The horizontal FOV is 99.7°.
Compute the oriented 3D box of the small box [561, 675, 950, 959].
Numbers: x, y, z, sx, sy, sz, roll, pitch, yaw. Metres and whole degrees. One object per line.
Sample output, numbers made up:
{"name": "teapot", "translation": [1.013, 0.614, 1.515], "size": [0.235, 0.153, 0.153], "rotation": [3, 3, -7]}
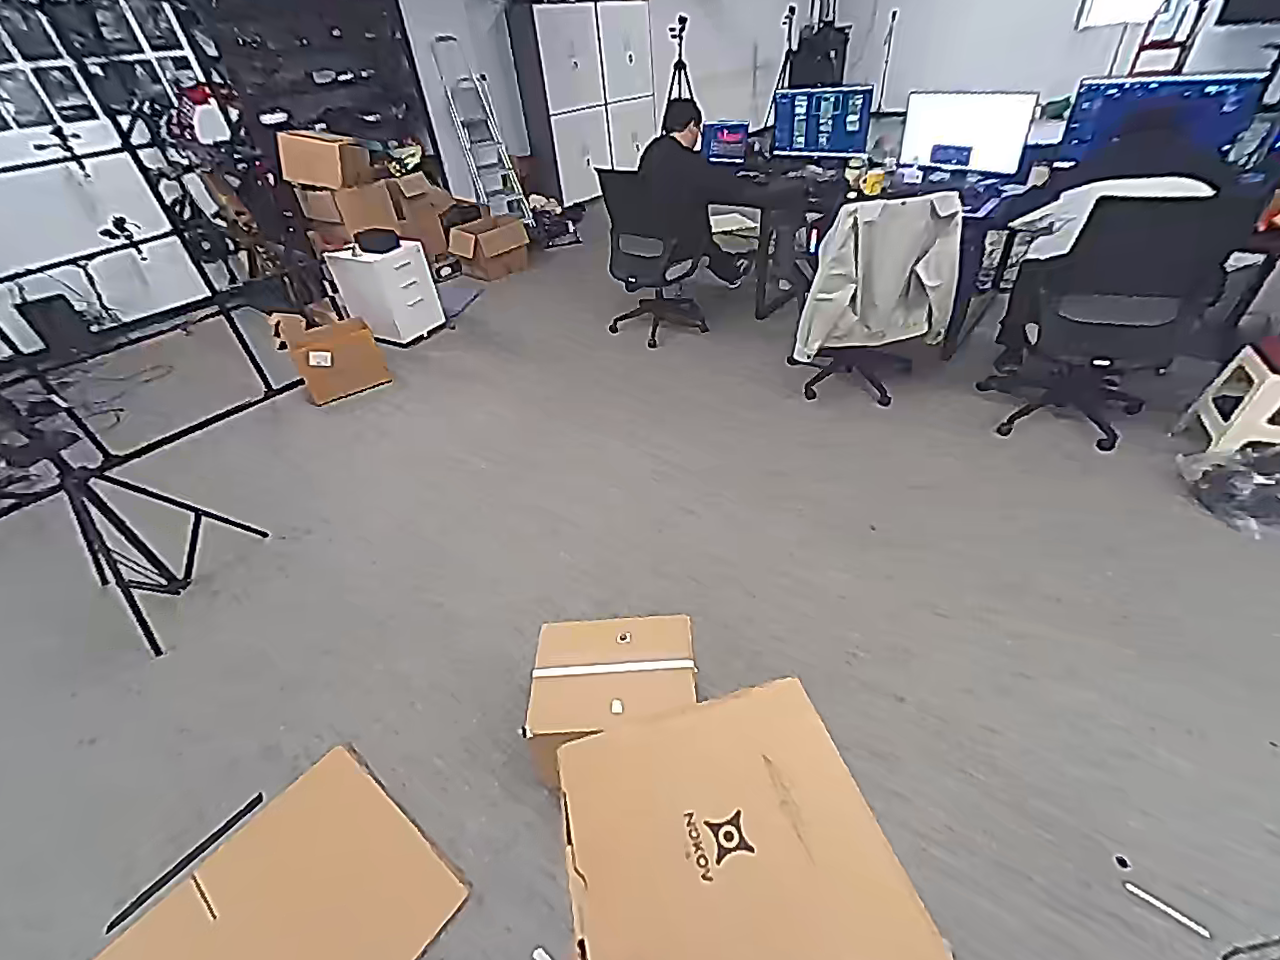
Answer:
{"name": "small box", "translation": [0.058, 0.267, 0.357], "size": [0.179, 0.176, 0.168], "rotation": [-13, 38, -9]}
